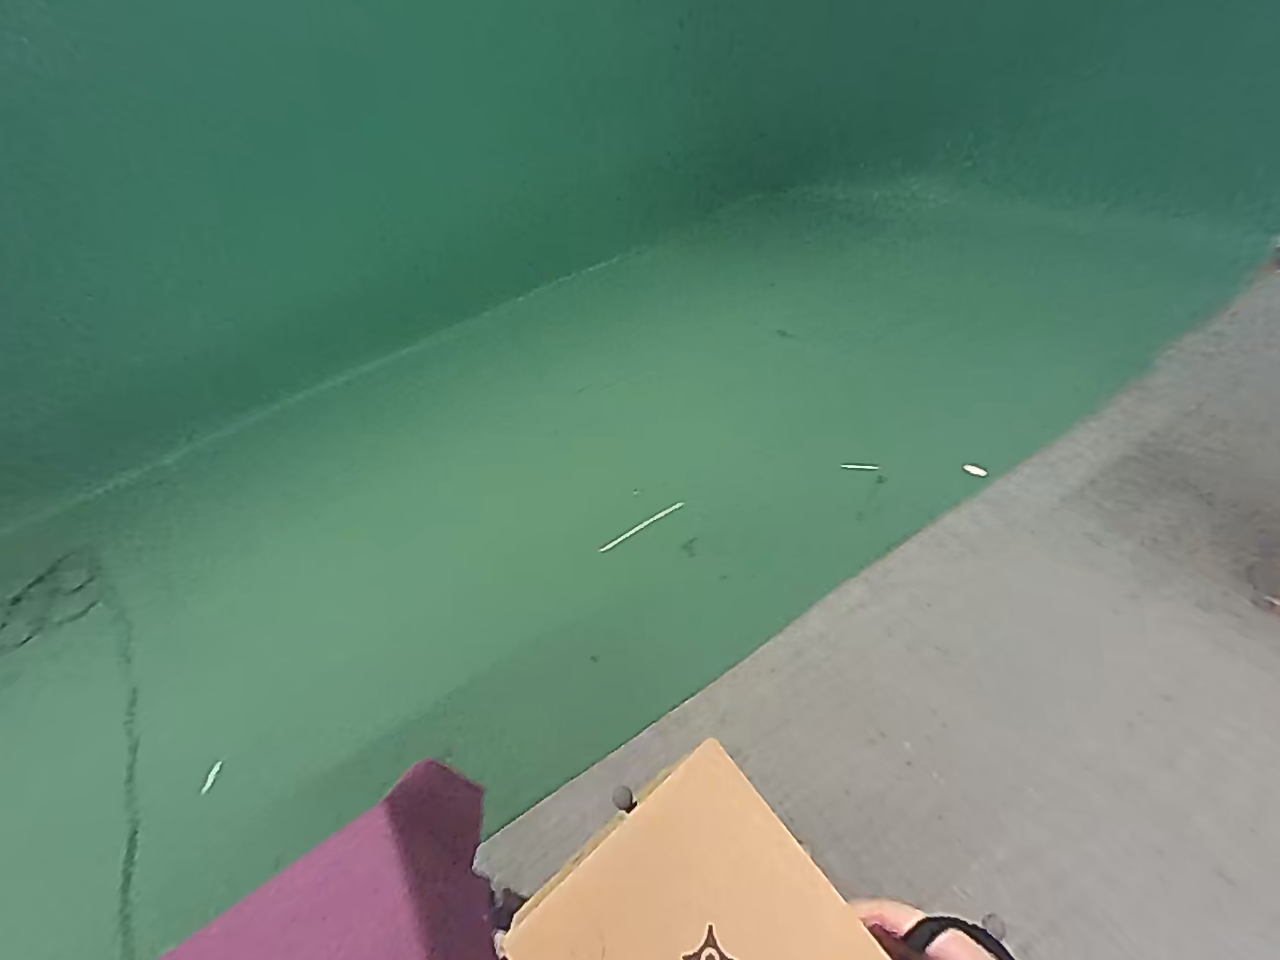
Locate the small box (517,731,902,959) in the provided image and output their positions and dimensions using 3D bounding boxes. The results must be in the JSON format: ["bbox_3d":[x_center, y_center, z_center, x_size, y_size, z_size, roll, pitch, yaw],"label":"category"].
[{"bbox_3d":[0.033,0.308,0.363,0.168,0.176,0.179,-31,67,-27],"label":"small box"}]
